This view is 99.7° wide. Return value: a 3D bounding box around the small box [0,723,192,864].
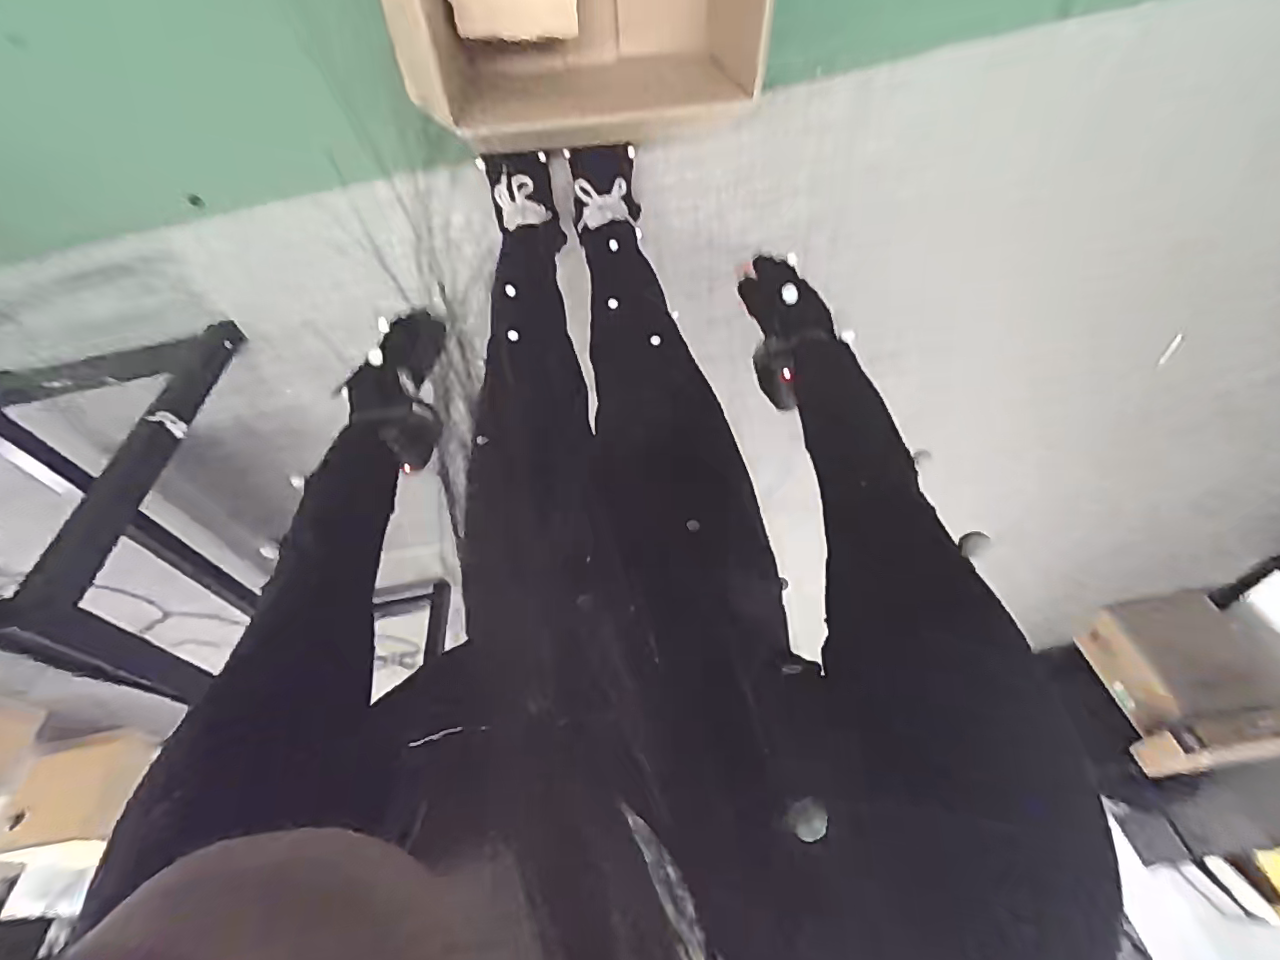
[{"bbox_3d":[-0.943,0.541,0.935,0.179,0.176,0.168,-12,140,2],"label":"small box"}]
